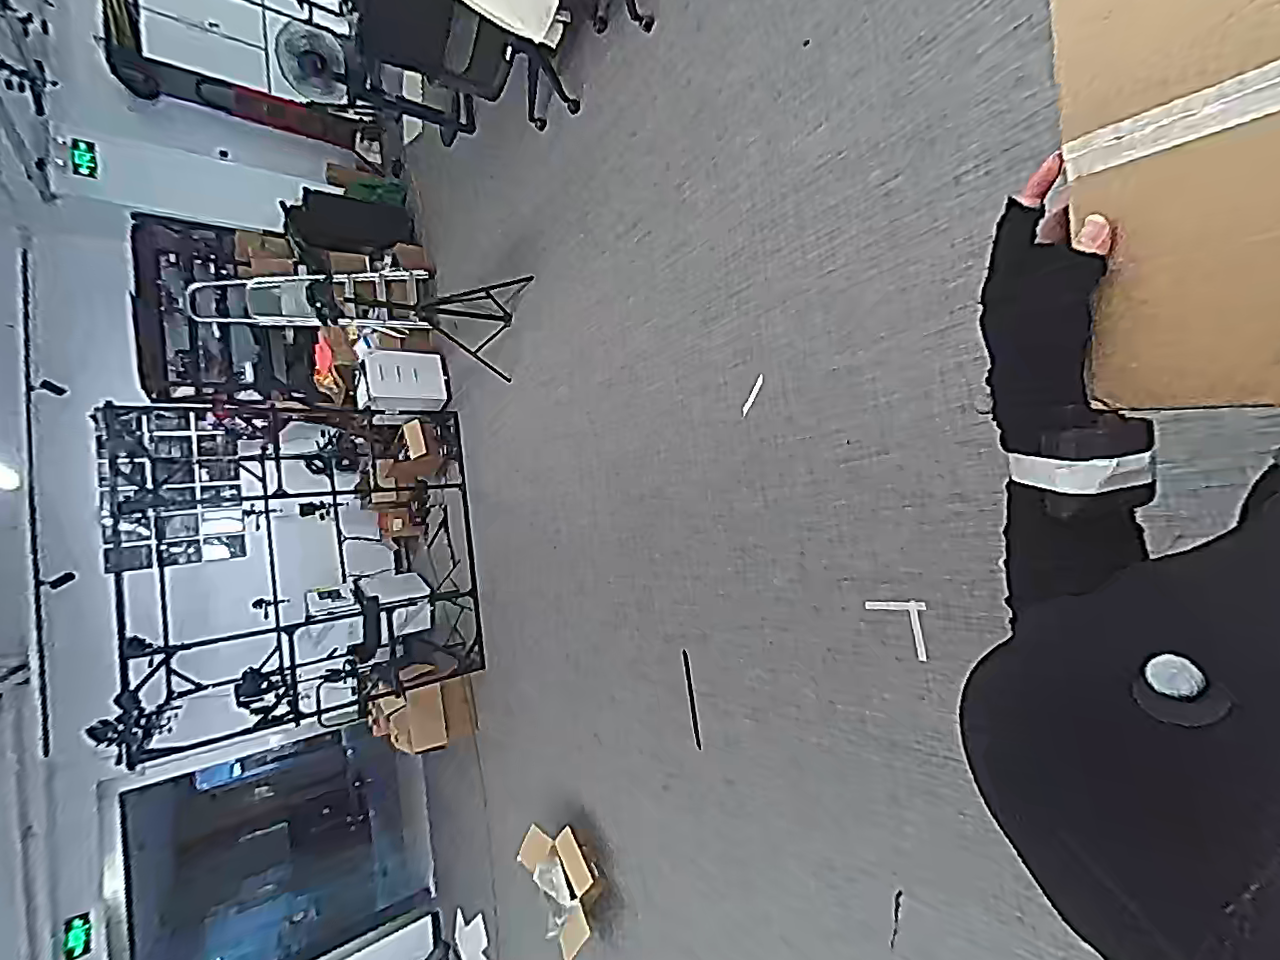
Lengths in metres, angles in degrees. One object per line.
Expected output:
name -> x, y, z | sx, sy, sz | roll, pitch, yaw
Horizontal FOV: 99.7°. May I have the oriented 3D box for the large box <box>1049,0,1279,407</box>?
large box -> 0.481, -0.237, 0.227 | 0.408, 0.320, 0.320 | 7, 117, 59
